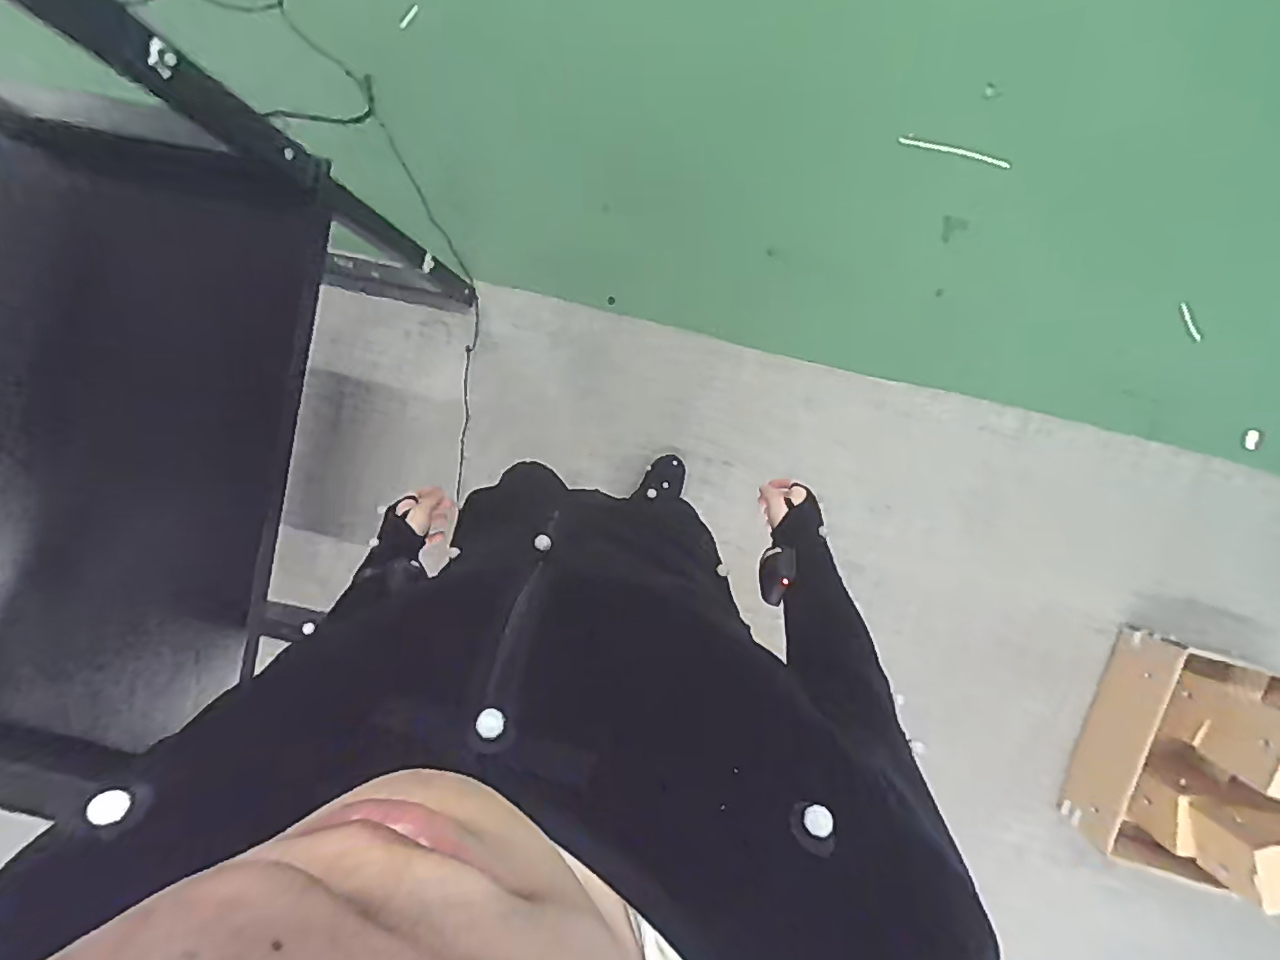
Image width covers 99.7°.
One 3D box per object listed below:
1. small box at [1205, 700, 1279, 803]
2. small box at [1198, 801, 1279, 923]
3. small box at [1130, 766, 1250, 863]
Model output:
[{"bbox_3d":[1.527,0.660,1.288,0.168,0.176,0.179,19,96,1],"label":"small box"},{"bbox_3d":[1.511,0.913,1.305,0.179,0.176,0.168,-11,93,4],"label":"small box"},{"bbox_3d":[1.488,0.904,1.470,0.179,0.176,0.168,-1,93,3],"label":"small box"}]
